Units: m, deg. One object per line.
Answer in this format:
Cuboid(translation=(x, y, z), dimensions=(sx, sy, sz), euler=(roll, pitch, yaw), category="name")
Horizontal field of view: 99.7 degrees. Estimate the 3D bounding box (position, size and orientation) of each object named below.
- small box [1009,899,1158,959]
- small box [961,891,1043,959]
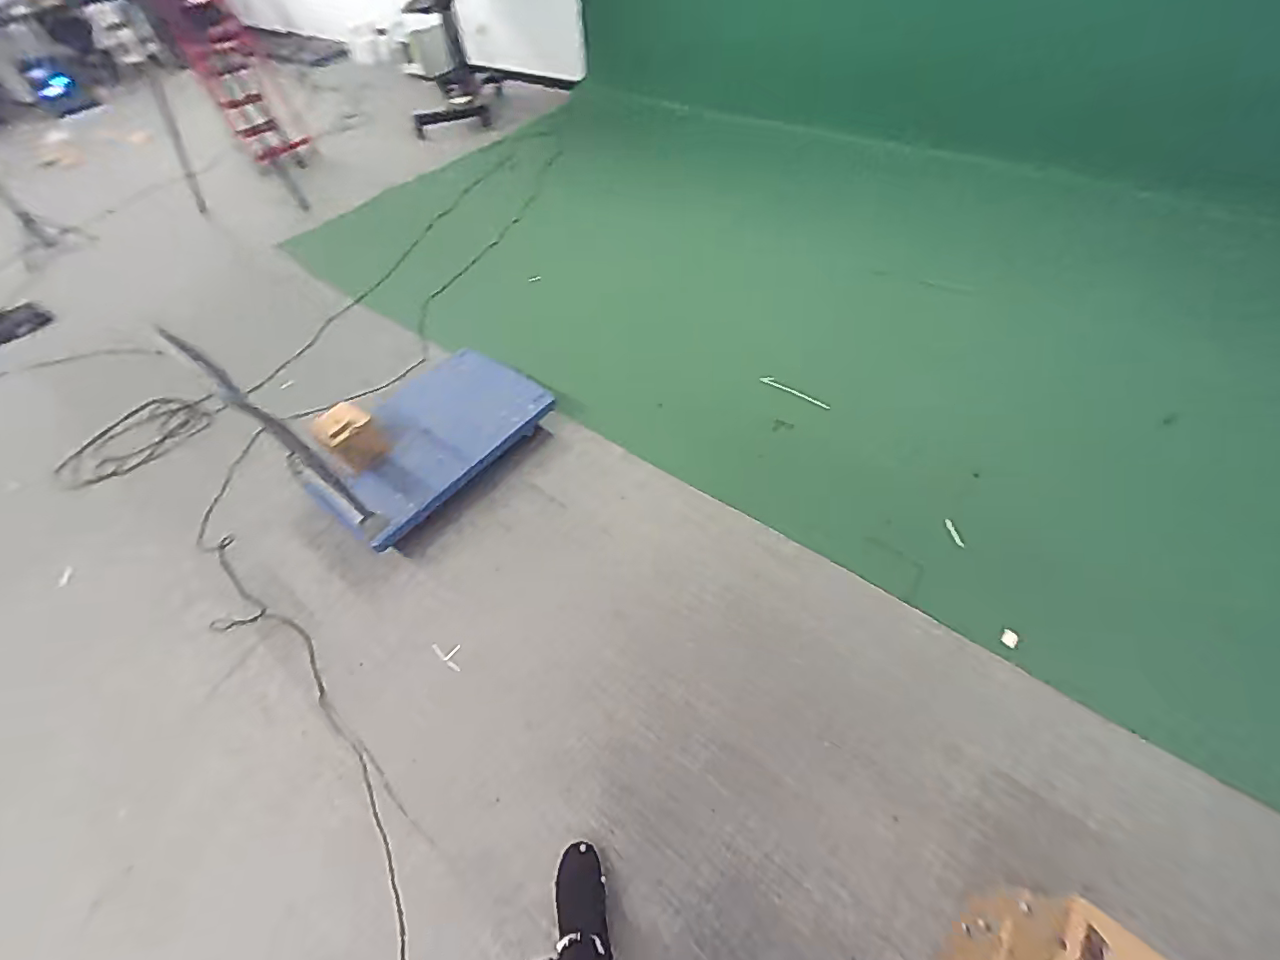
Cuboid(translation=(0.704, 0.802, 0.840), dimensions=(0.179, 0.176, 0.168), euler=(34, 62, 28), category="small box")
Cuboid(translation=(0.717, 0.894, 0.976), dimensions=(0.179, 0.176, 0.168), euler=(34, 62, 30), category="small box")
